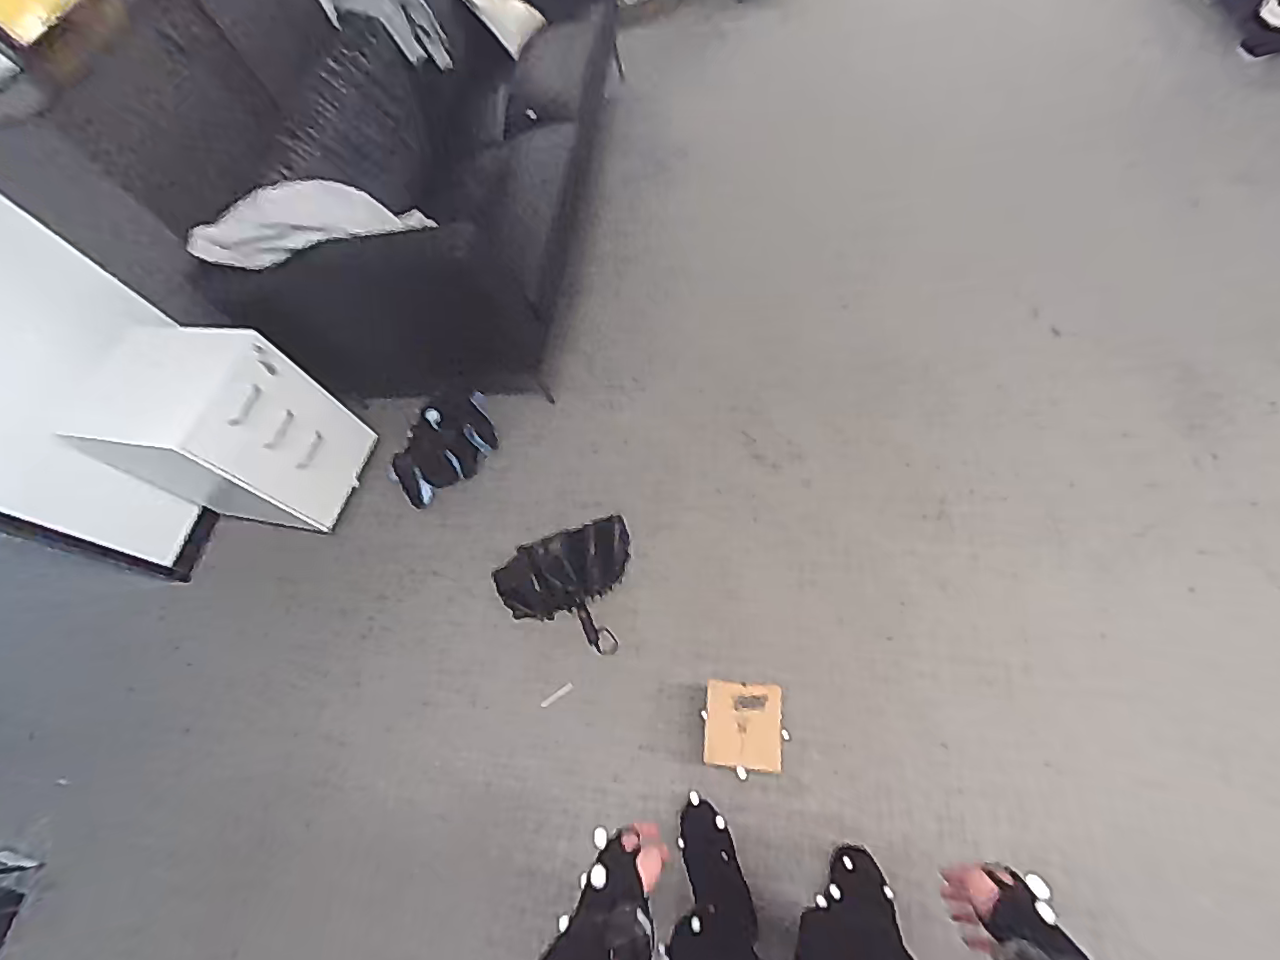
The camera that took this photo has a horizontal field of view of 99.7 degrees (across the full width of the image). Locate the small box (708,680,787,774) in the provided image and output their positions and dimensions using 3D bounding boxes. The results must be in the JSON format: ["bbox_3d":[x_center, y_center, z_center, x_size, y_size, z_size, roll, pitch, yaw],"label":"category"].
[{"bbox_3d":[0.257,0.581,1.270,0.168,0.176,0.179,-1,63,16],"label":"small box"}]
